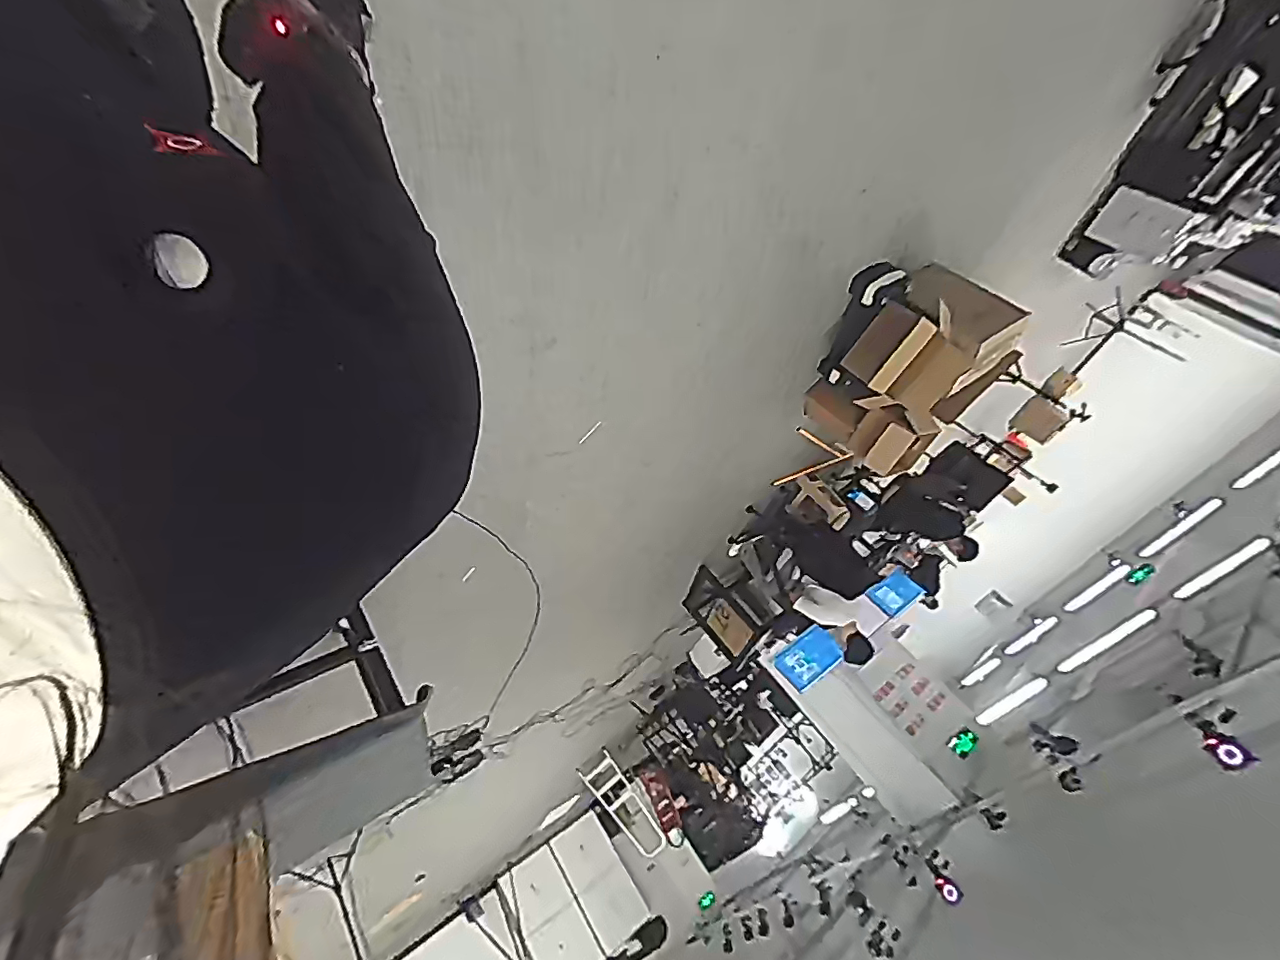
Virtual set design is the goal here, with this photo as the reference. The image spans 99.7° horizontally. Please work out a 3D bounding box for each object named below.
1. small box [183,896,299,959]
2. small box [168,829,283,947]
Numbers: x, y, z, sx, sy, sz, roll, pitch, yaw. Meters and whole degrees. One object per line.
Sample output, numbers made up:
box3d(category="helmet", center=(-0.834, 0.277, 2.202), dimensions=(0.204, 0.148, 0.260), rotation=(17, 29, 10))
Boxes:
box3d(category="small box", center=(-0.930, 1.121, 1.266), dimensions=(0.168, 0.176, 0.179), rotation=(-23, 145, -32))
box3d(category="small box", center=(-1.025, 1.012, 1.341), dimensions=(0.179, 0.176, 0.168), rotation=(-21, 144, -33))
